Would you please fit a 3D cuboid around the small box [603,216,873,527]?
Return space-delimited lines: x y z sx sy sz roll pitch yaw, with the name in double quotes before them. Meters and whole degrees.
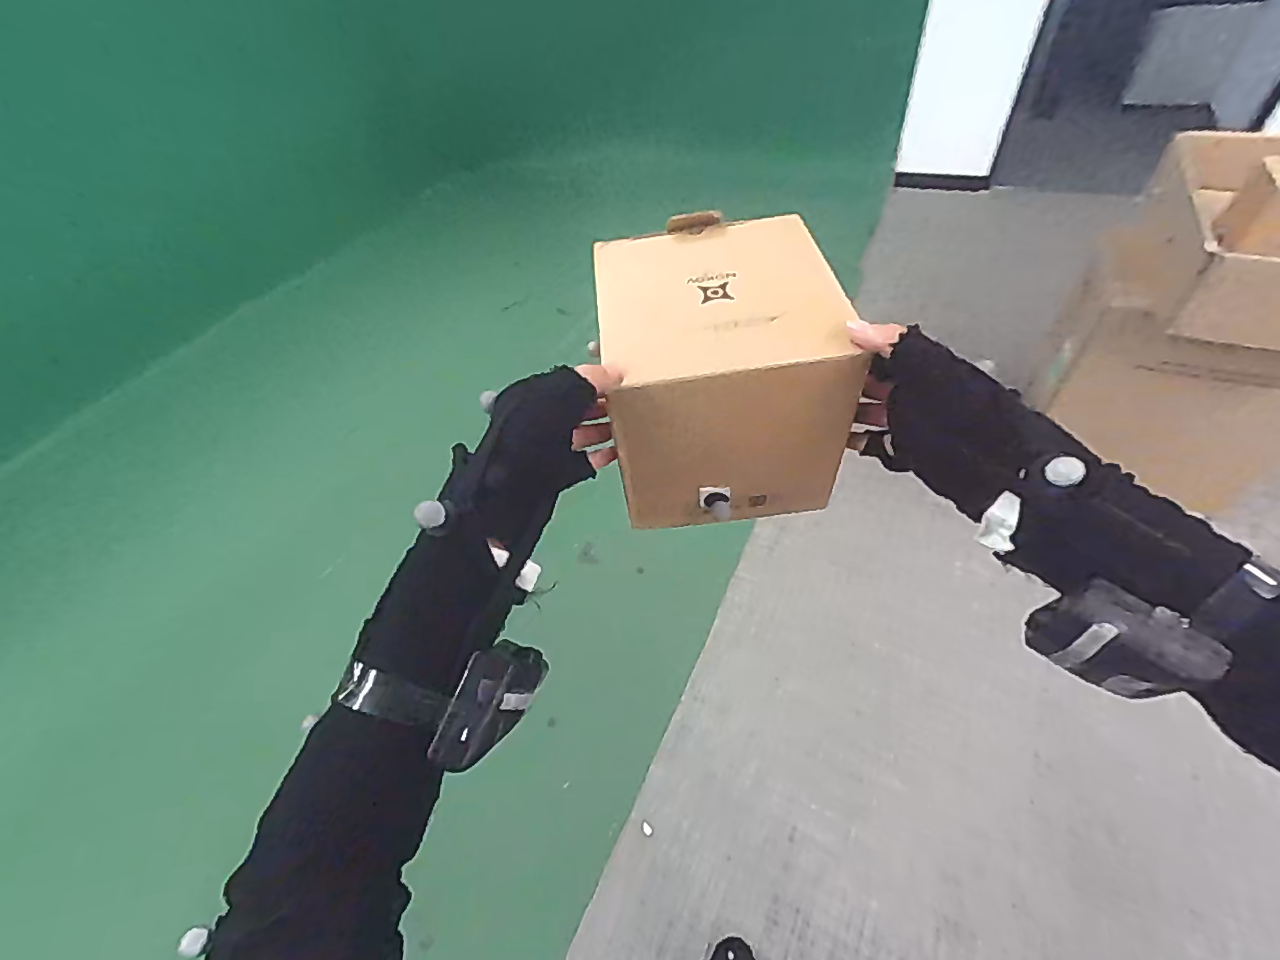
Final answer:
"small box" 0.062 -0.084 0.440 0.168 0.176 0.179 -7 51 2

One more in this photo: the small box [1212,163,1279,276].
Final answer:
"small box" 1.403 -0.558 1.168 0.168 0.176 0.179 16 55 20
